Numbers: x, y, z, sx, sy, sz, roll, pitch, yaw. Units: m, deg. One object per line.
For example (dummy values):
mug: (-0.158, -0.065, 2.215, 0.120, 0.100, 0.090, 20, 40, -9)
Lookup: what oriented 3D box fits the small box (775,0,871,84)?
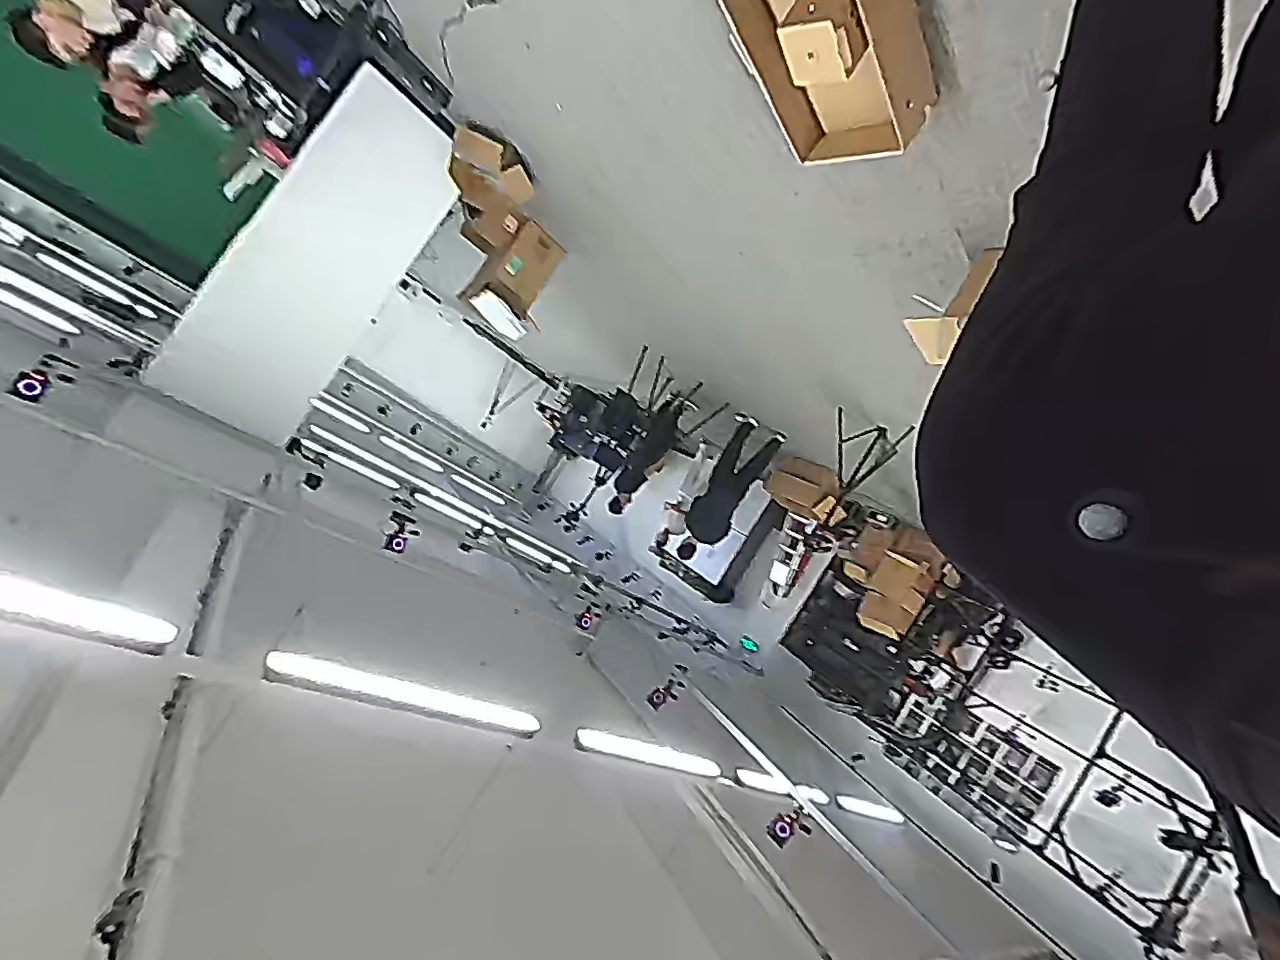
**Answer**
small box: (0.502, -1.220, 1.460, 0.179, 0.176, 0.168, 30, 177, 39)
